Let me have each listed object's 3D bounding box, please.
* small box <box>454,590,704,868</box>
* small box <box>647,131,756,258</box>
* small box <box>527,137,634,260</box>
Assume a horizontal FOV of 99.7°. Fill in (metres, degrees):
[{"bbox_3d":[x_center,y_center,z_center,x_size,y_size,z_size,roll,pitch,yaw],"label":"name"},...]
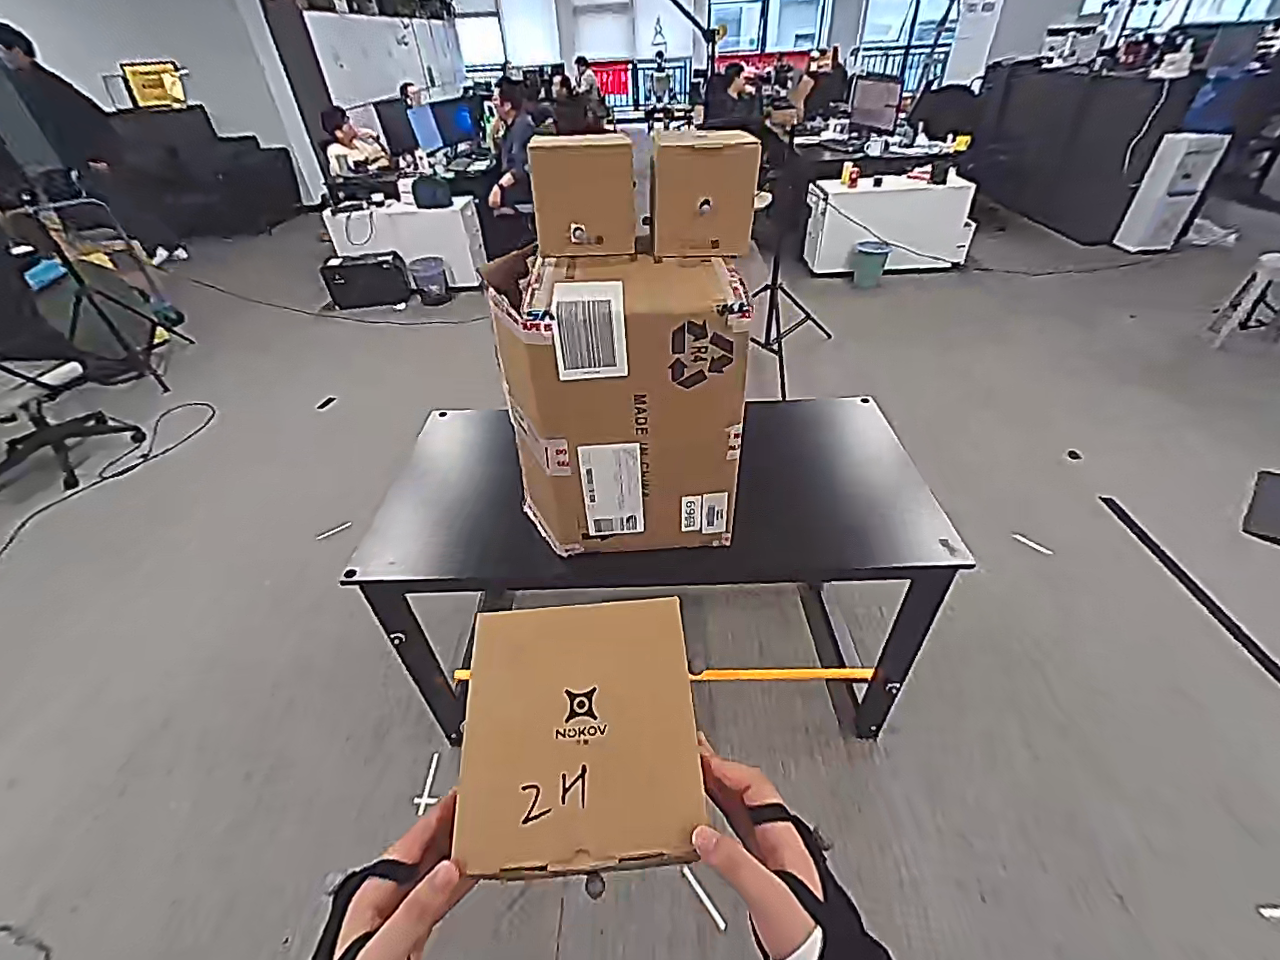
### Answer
[{"bbox_3d":[-0.043,0.215,0.462,0.168,0.176,0.179,-5,52,-1],"label":"small box"},{"bbox_3d":[0.098,-0.497,0.945,0.168,0.176,0.179,-1,39,-2],"label":"small box"},{"bbox_3d":[-0.101,-0.497,0.954,0.168,0.176,0.179,-6,38,-4],"label":"small box"}]
